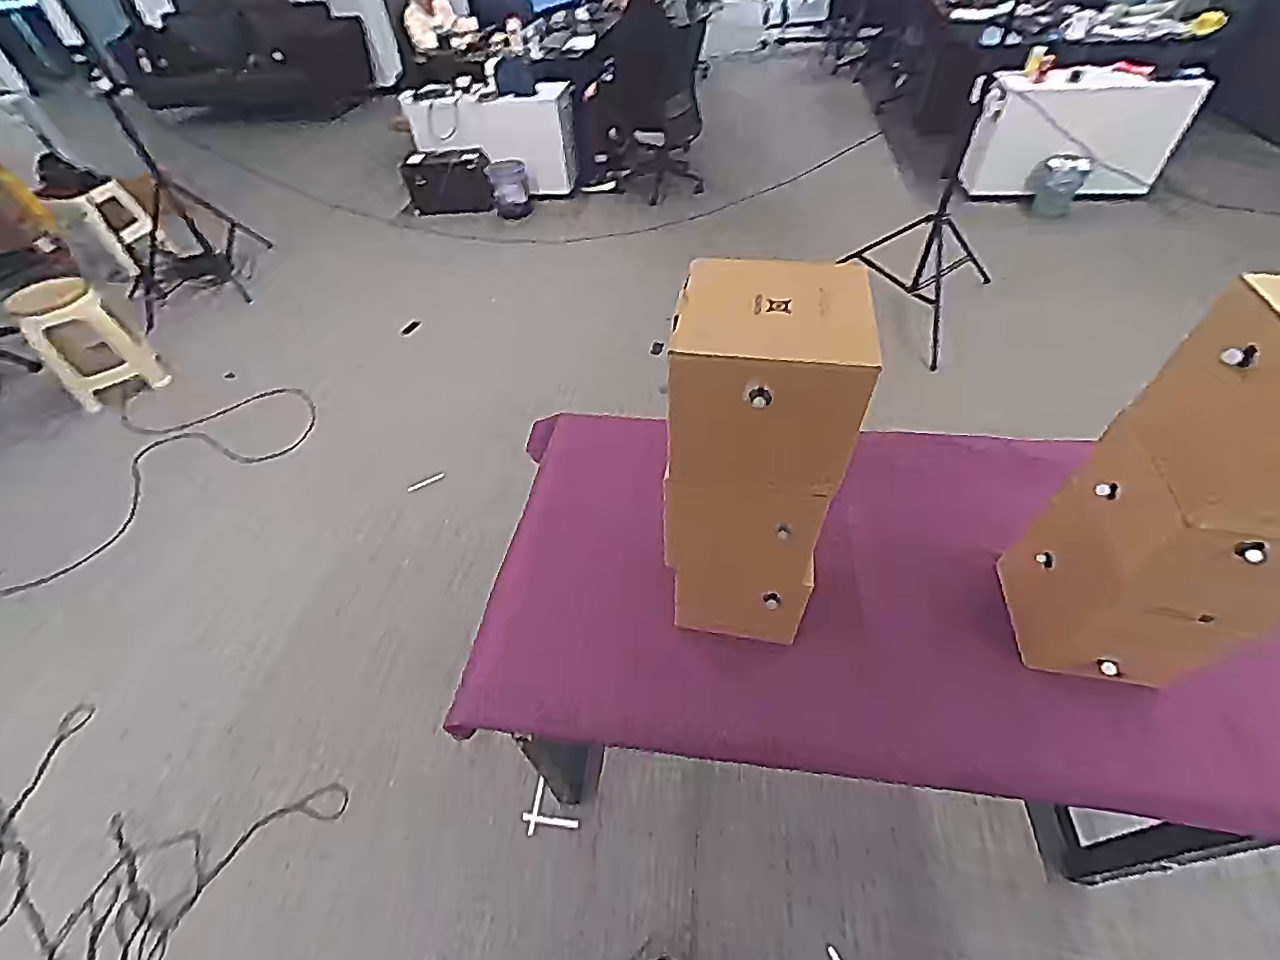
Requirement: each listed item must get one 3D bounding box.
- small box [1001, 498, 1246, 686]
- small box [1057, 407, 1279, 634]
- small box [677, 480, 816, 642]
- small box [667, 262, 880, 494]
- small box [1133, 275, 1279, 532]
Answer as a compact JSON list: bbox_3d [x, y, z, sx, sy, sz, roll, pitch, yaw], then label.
[{"bbox_3d":[0.624,0.151,0.730,0.168,0.176,0.179,6,49,10],"label":"small box"},{"bbox_3d":[0.614,0.044,0.606,0.168,0.176,0.179,7,48,11],"label":"small box"},{"bbox_3d":[0.152,0.119,0.793,0.179,0.176,0.168,6,48,10],"label":"small box"},{"bbox_3d":[0.125,-0.102,0.554,0.179,0.176,0.168,6,50,8],"label":"small box"},{"bbox_3d":[0.604,-0.060,0.480,0.168,0.176,0.179,7,48,11],"label":"small box"}]
